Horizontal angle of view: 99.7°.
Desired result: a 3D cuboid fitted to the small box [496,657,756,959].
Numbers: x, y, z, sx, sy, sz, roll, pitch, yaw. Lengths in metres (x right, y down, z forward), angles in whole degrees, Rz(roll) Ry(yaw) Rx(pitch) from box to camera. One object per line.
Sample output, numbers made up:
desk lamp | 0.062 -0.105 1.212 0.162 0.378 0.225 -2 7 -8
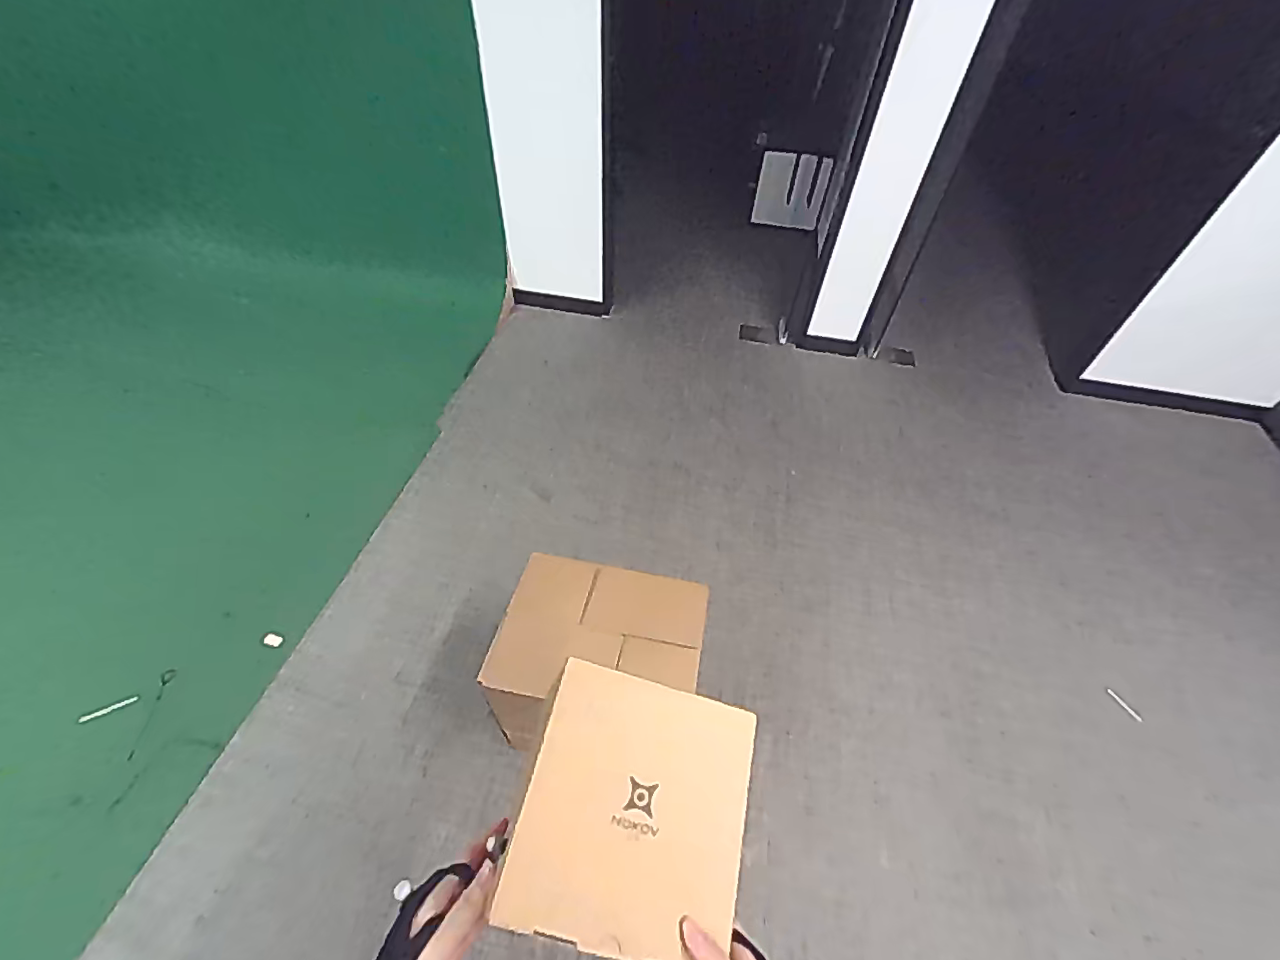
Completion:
small box | -0.018 0.278 0.467 0.168 0.176 0.179 19 58 -4
